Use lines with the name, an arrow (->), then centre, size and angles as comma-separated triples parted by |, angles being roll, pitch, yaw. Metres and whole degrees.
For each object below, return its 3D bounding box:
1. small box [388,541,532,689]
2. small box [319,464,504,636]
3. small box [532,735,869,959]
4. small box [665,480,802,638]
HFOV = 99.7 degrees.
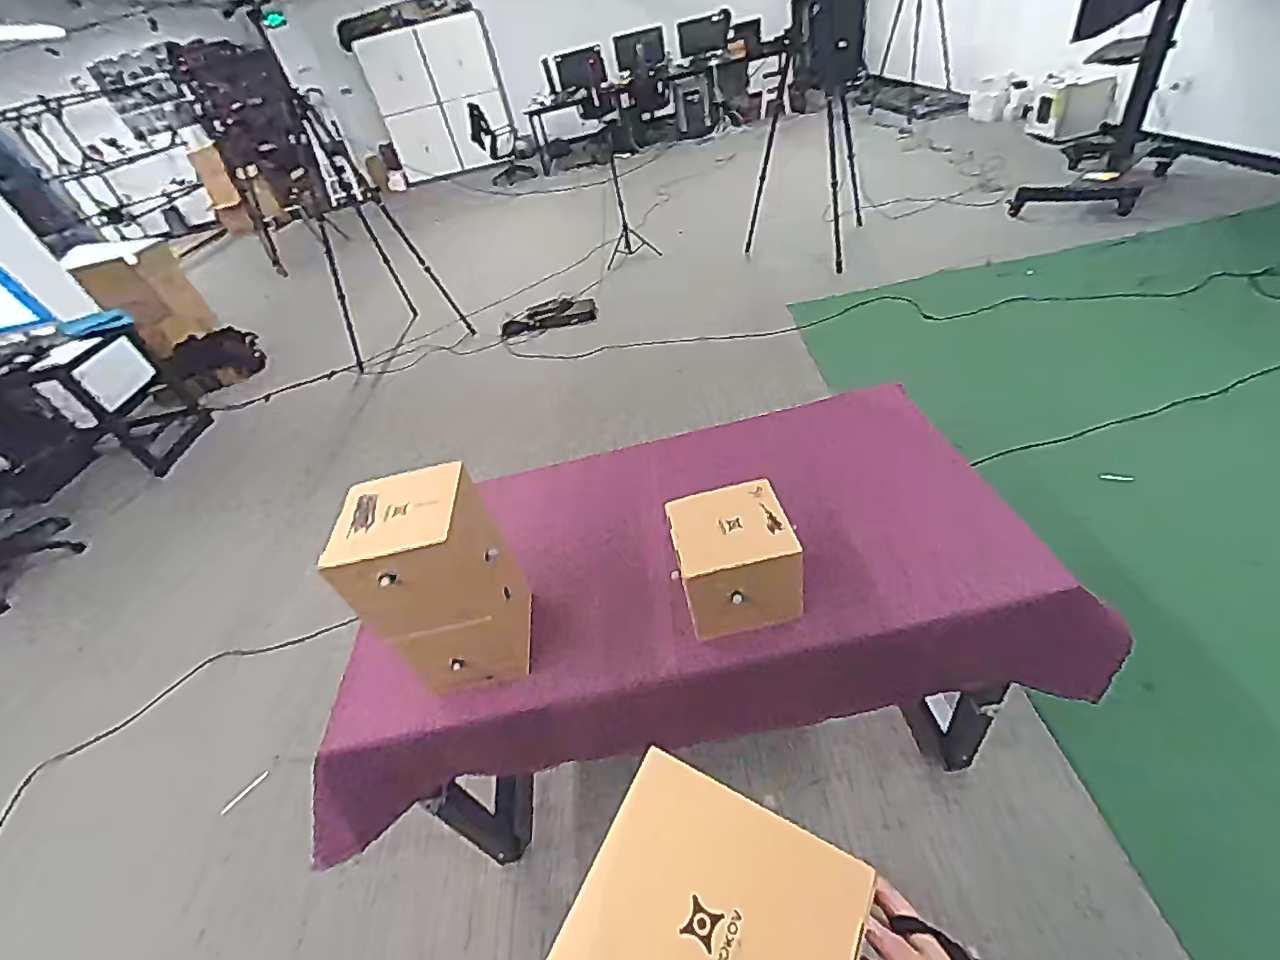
small box -> -0.285, 0.228, 0.901 | 0.168, 0.176, 0.179 | -13, 40, 2
small box -> -0.319, 0.107, 0.794 | 0.179, 0.176, 0.168 | -13, 41, 2
small box -> 0.052, 0.338, 0.416 | 0.179, 0.176, 0.168 | 19, 55, 25
small box -> 0.151, 0.132, 0.876 | 0.179, 0.176, 0.168 | -14, 40, 2
